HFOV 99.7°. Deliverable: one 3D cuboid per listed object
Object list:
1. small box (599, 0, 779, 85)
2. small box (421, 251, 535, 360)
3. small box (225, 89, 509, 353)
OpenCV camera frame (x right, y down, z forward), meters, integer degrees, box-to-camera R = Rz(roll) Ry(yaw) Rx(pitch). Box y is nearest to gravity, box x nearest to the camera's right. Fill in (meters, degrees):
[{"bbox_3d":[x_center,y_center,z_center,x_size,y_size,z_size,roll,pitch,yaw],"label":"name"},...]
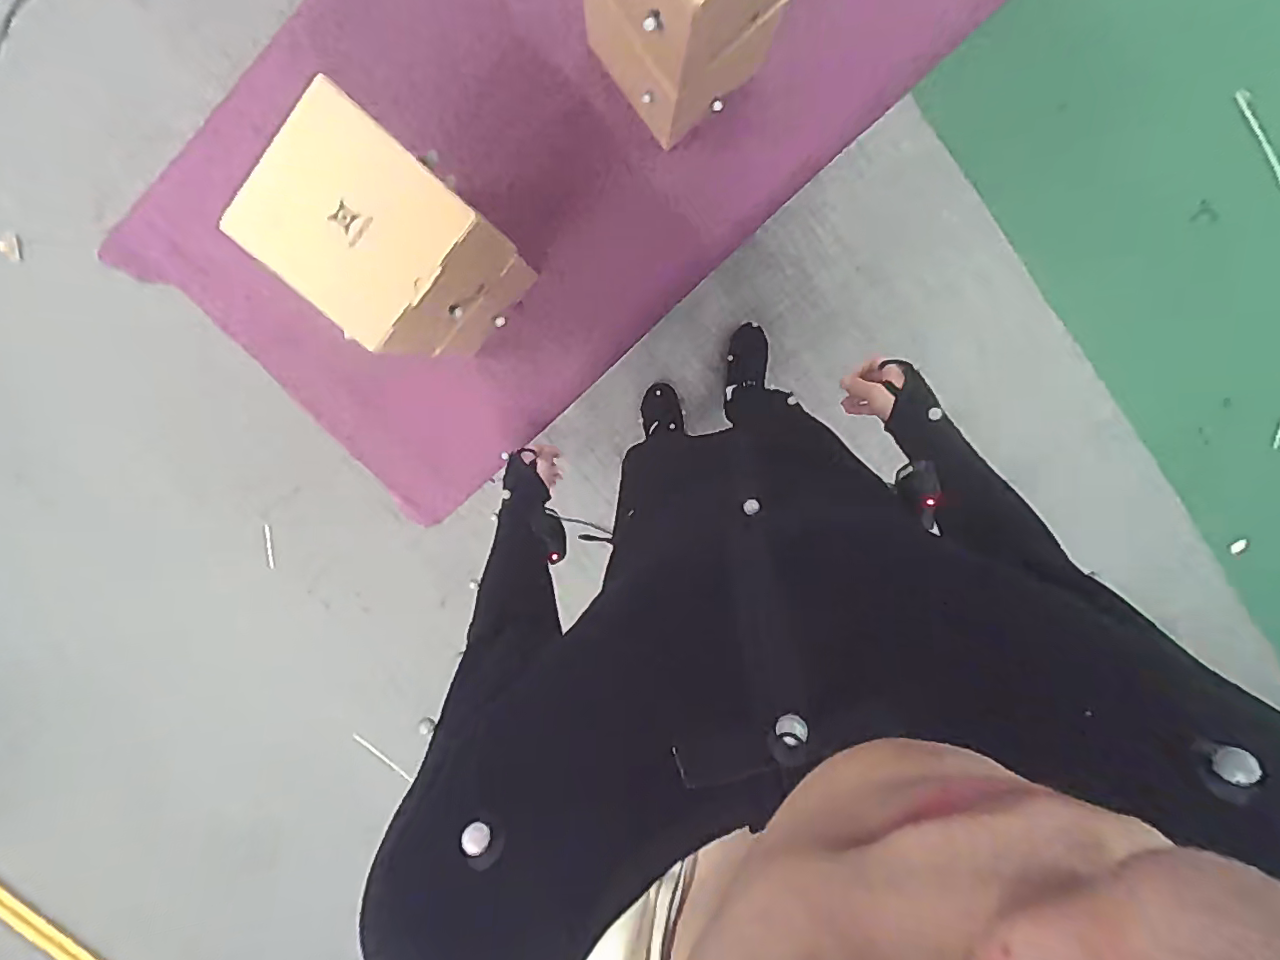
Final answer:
[{"bbox_3d":[0.047,-0.530,0.519,0.168,0.176,0.179,-40,100,7],"label":"small box"},{"bbox_3d":[-0.270,-0.280,0.740,0.179,0.176,0.168,43,99,-9],"label":"small box"},{"bbox_3d":[-0.270,-0.250,0.579,0.179,0.176,0.168,40,99,-9],"label":"small box"}]
